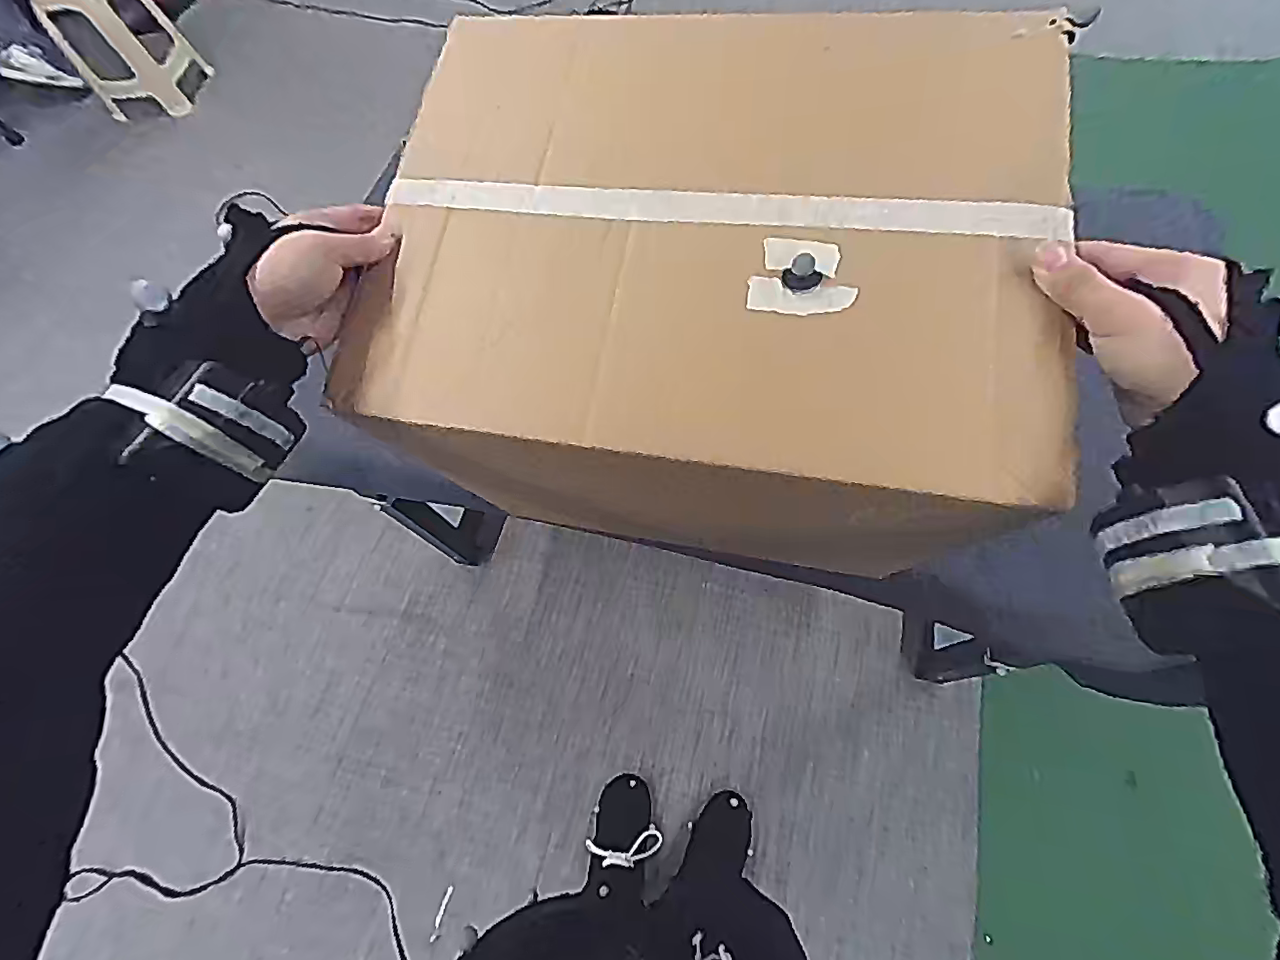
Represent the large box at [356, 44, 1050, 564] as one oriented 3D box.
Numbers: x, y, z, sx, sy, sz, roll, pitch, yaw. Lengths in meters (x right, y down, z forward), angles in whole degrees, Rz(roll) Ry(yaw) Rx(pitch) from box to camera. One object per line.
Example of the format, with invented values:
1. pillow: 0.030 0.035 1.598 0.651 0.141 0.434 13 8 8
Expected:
1. large box: 0.055 -0.122 0.486 0.408 0.320 0.320 8 75 9
